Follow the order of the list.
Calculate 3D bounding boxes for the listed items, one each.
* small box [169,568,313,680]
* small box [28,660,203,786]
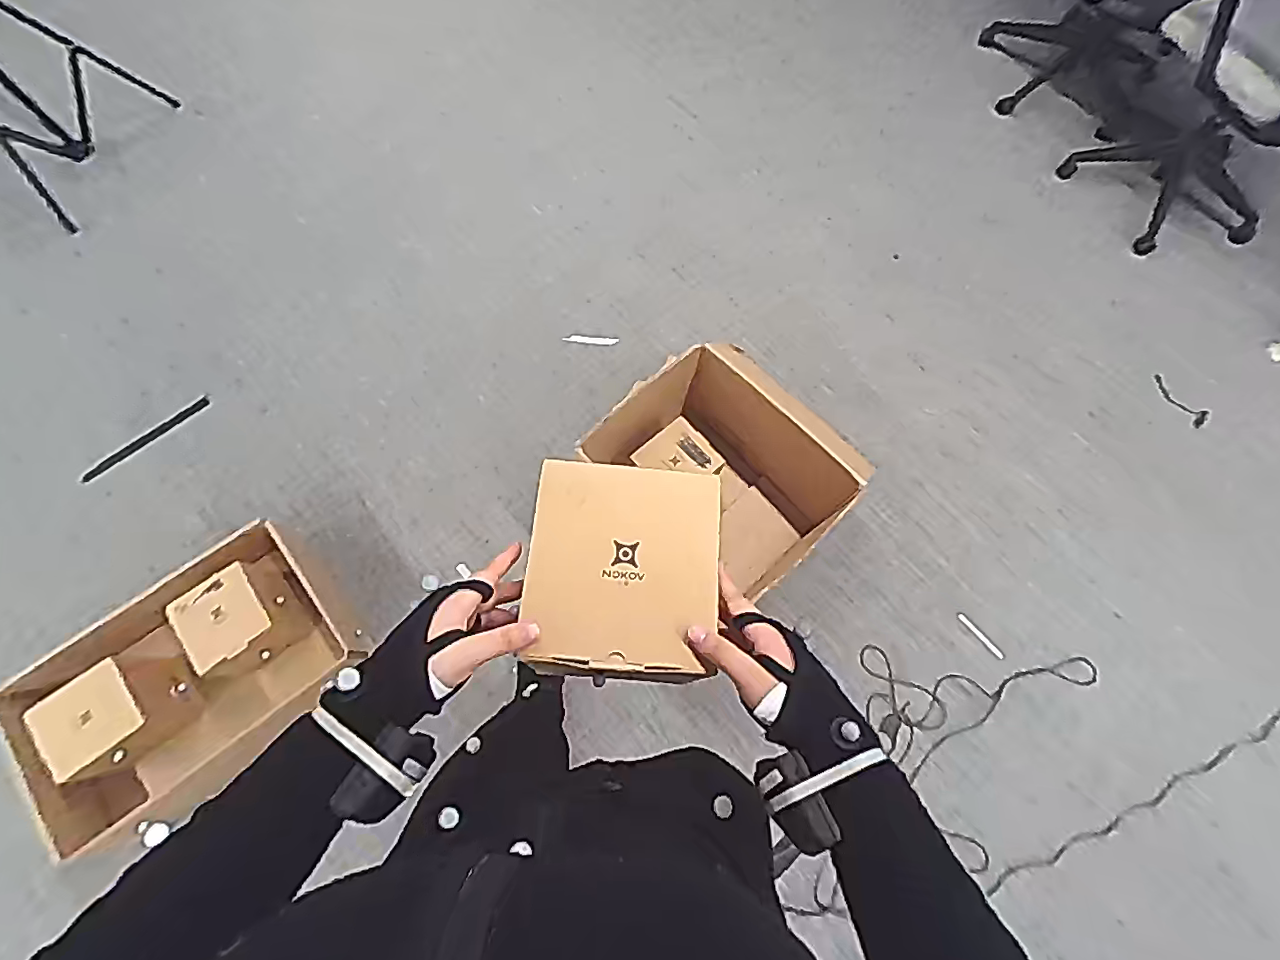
[{"bbox_3d":[-0.887,0.323,1.219,0.168,0.176,0.179,-36,77,-12],"label":"small box"},{"bbox_3d":[-1.100,0.507,1.149,0.179,0.176,0.168,-38,78,-15],"label":"small box"}]
